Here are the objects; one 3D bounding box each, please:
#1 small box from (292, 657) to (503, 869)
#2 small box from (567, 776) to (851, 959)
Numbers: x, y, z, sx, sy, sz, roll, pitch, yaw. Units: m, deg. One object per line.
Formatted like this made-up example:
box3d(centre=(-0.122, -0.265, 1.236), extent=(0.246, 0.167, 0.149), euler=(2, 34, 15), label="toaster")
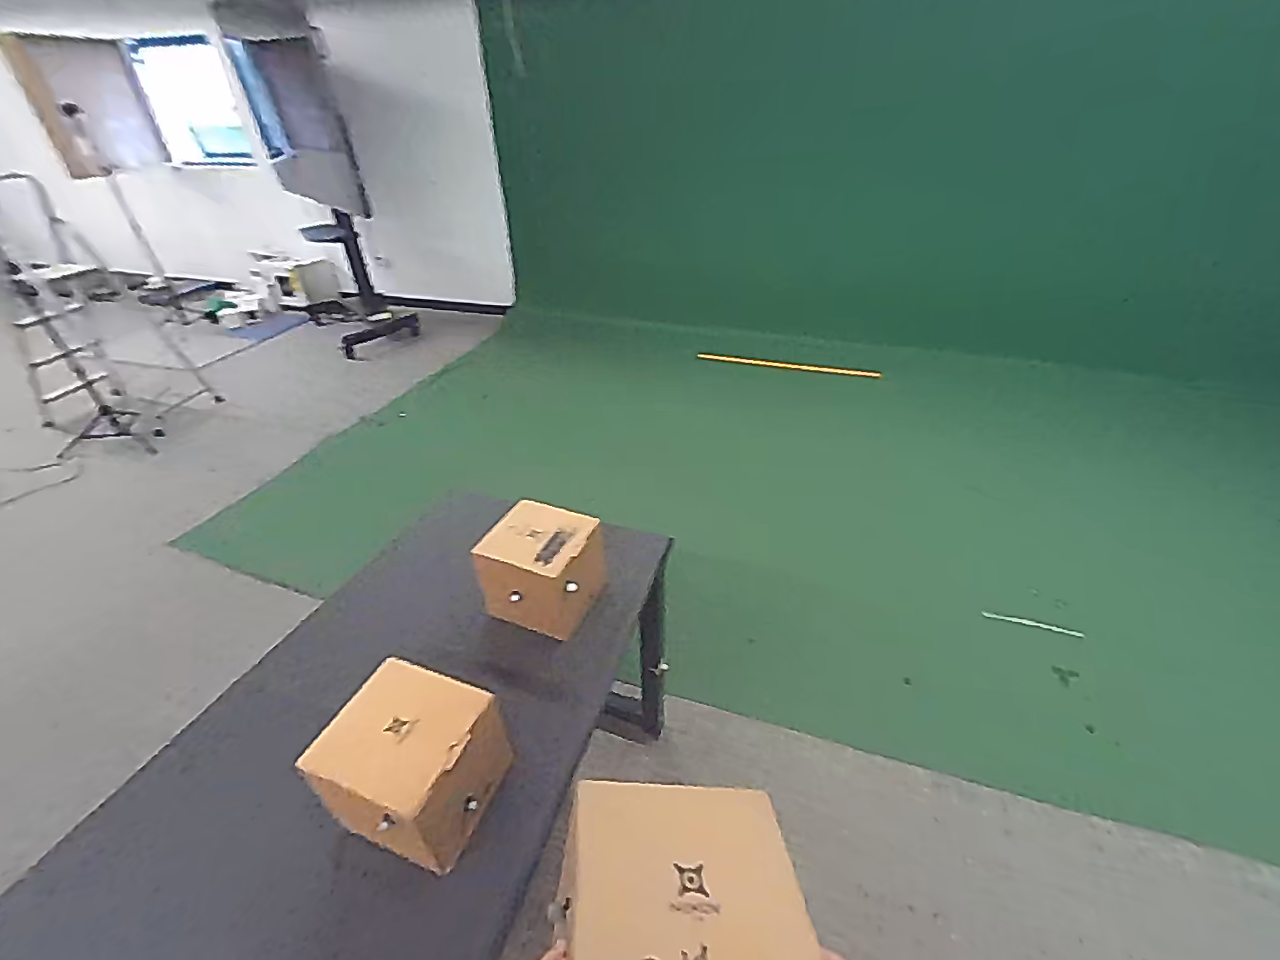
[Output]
box3d(centre=(-0.306, 0.374, 0.719), extent=(0.179, 0.176, 0.168), euler=(12, 36, 16), label="small box")
box3d(centre=(0.037, 0.360, 0.398), extent=(0.168, 0.176, 0.179), euler=(10, 19, -8), label="small box")
